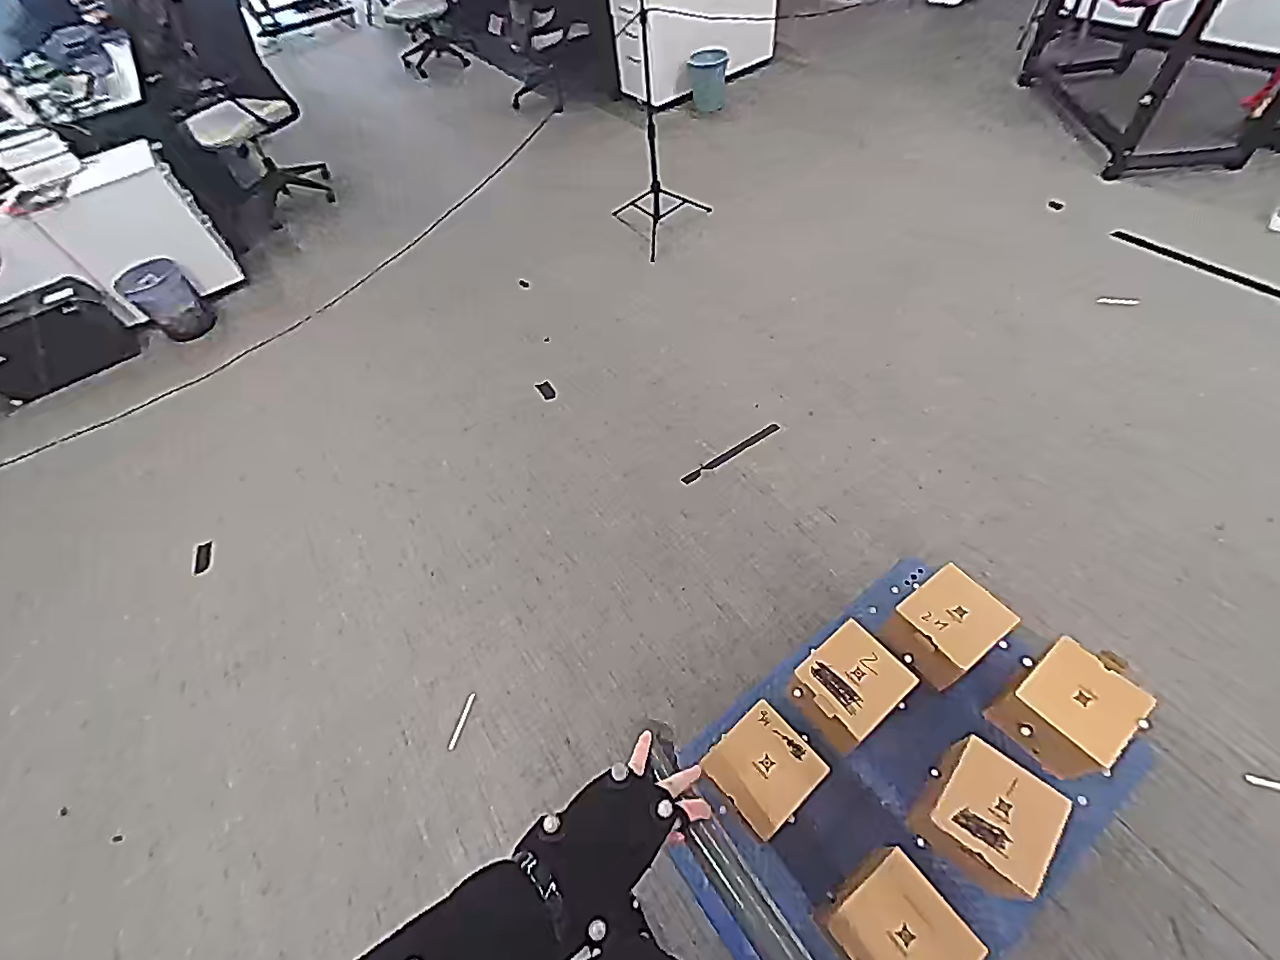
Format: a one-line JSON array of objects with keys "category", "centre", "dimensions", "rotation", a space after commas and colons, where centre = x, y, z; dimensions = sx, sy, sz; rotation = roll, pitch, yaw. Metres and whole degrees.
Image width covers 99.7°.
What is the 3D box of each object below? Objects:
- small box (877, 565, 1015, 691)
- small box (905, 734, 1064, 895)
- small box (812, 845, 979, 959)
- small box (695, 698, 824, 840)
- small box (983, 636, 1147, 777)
[{"category": "small box", "centre": [0.647, 0.322, 1.168], "dimensions": [0.179, 0.176, 0.168], "rotation": [-32, 56, -15]}, {"category": "small box", "centre": [0.605, 0.601, 0.974], "dimensions": [0.168, 0.176, 0.179], "rotation": [34, 64, 27]}, {"category": "small box", "centre": [0.407, 0.747, 0.897], "dimensions": [0.179, 0.176, 0.168], "rotation": [-33, 57, -16]}, {"category": "small box", "centre": [0.227, 0.564, 1.049], "dimensions": [0.179, 0.176, 0.168], "rotation": [-37, 59, -18]}, {"category": "small box", "centre": [0.813, 0.447, 1.059], "dimensions": [0.179, 0.176, 0.168], "rotation": [-36, 58, -18]}]
